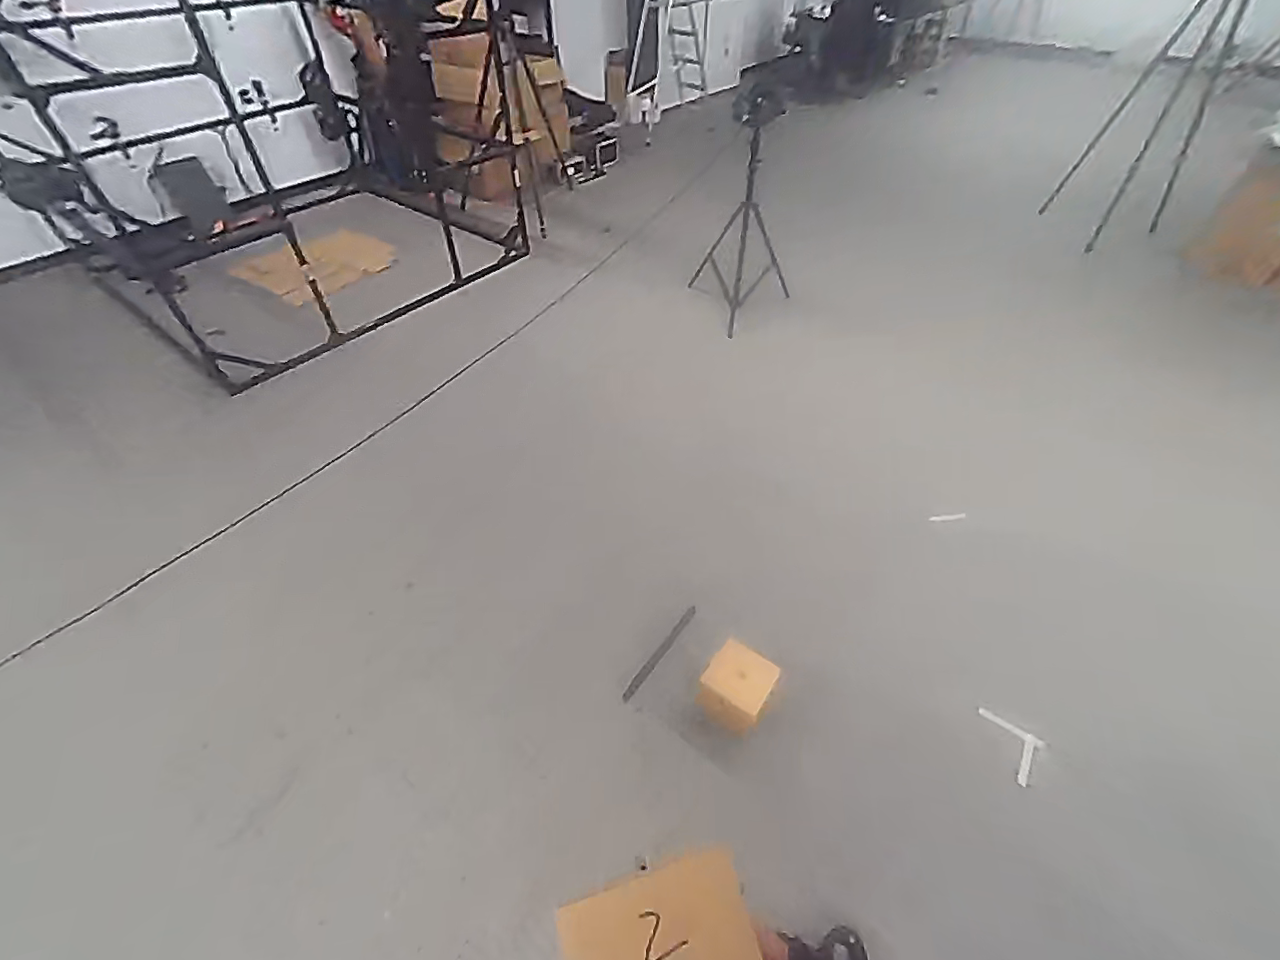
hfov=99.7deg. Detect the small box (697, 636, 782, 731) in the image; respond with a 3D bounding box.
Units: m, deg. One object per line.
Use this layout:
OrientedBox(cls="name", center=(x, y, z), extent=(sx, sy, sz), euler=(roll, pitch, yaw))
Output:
OrientedBox(cls="small box", center=(0.280, 0.589, 1.549), extent=(0.179, 0.176, 0.168), euler=(27, 53, 25))
